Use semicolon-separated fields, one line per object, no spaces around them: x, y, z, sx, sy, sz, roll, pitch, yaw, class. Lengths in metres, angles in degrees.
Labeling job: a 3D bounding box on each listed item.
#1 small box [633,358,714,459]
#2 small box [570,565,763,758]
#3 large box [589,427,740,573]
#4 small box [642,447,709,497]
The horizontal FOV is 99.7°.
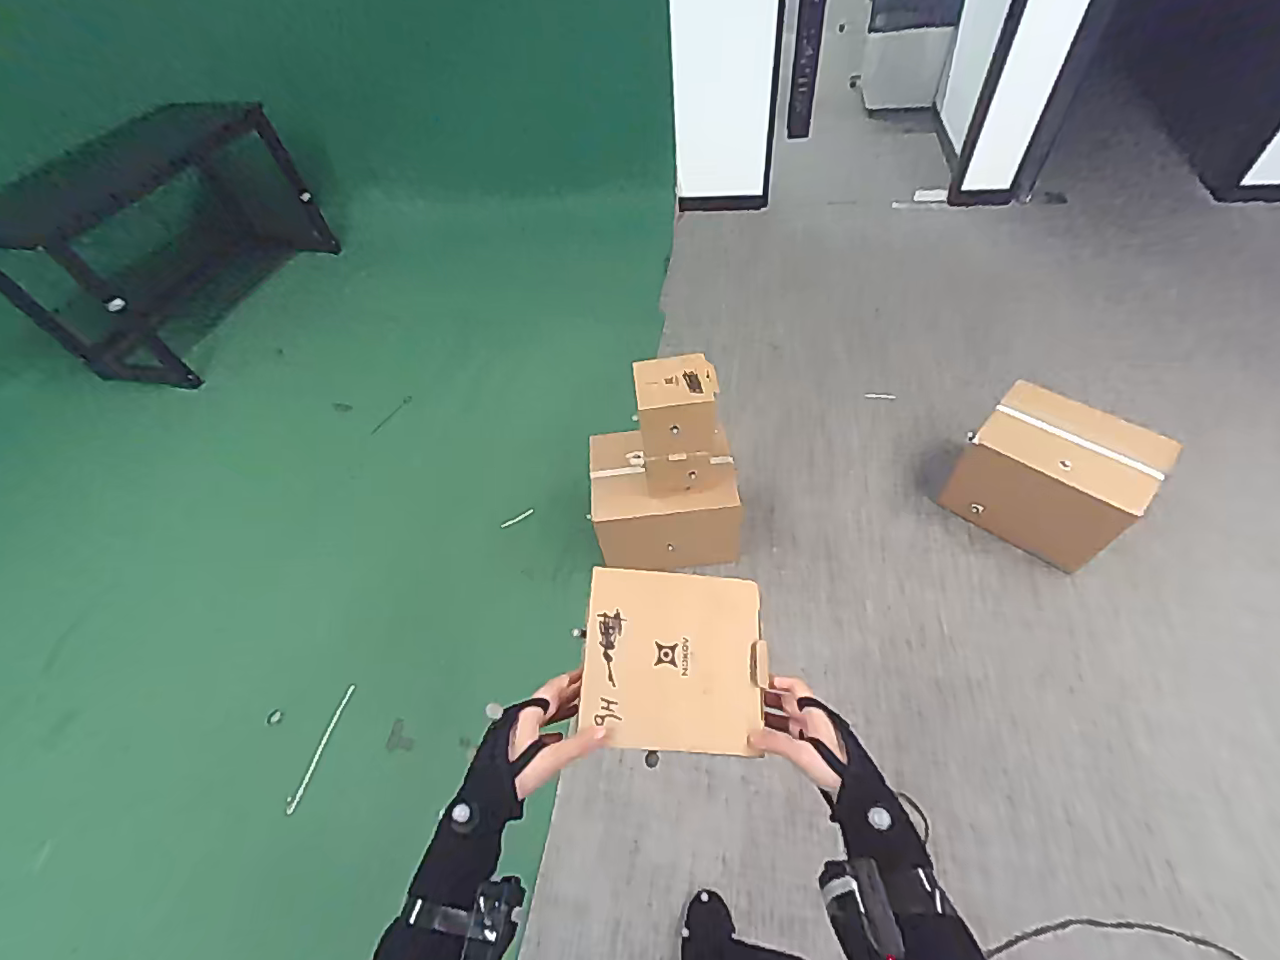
0.080;-0.170;1.311;0.179;0.176;0.168;-7;52;1;small box
0.021;0.203;0.590;0.179;0.176;0.168;7;63;-5;small box
0.073;0.078;1.639;0.408;0.320;0.320;-7;50;3;large box
0.092;-0.067;1.438;0.168;0.176;0.179;-6;52;2;small box
